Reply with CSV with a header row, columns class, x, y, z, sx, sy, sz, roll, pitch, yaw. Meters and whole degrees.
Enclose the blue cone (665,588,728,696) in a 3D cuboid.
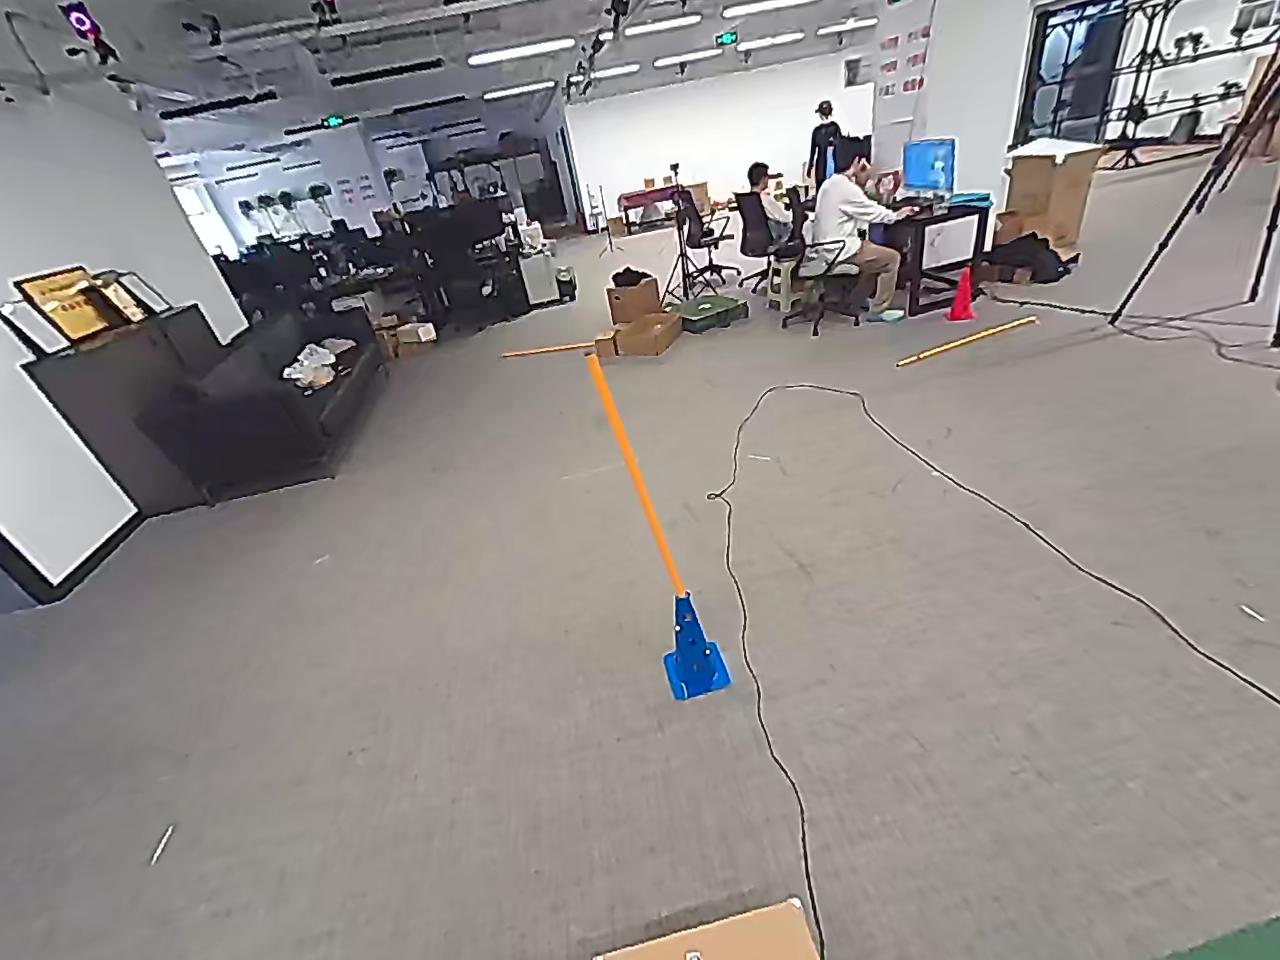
class,x,y,z,sx,sy,sz,roll,pitch,yaw
blue cone,0.161,0.508,1.768,0.193,0.380,0.192,-17,31,-6
